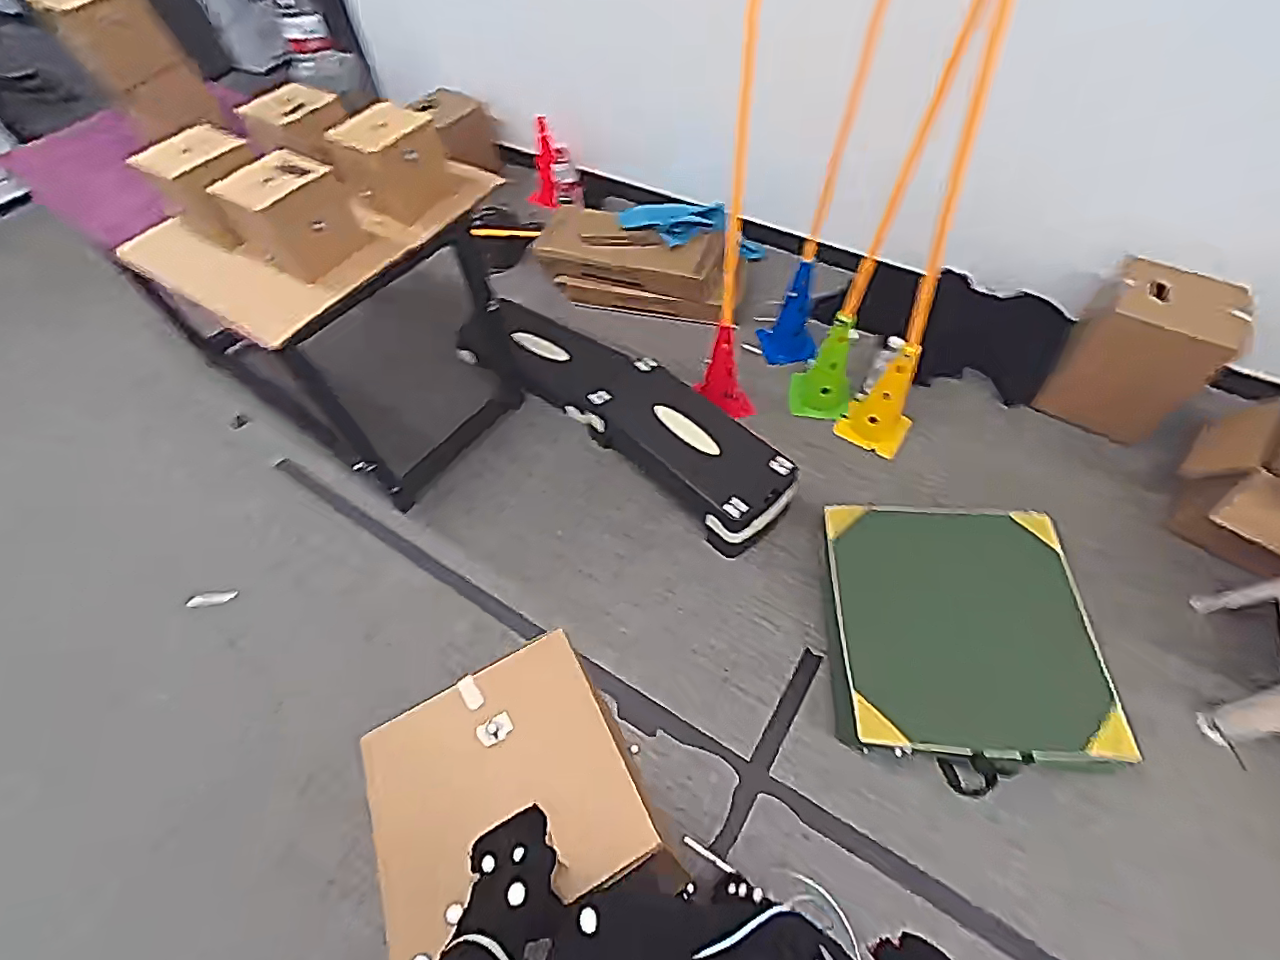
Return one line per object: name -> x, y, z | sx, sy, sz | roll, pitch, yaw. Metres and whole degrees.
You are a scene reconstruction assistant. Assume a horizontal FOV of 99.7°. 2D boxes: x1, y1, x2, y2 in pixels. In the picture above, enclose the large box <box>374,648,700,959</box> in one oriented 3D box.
large box -> -0.135, 0.523, 0.822 | 0.320, 0.408, 0.320 | -26, 50, -10
